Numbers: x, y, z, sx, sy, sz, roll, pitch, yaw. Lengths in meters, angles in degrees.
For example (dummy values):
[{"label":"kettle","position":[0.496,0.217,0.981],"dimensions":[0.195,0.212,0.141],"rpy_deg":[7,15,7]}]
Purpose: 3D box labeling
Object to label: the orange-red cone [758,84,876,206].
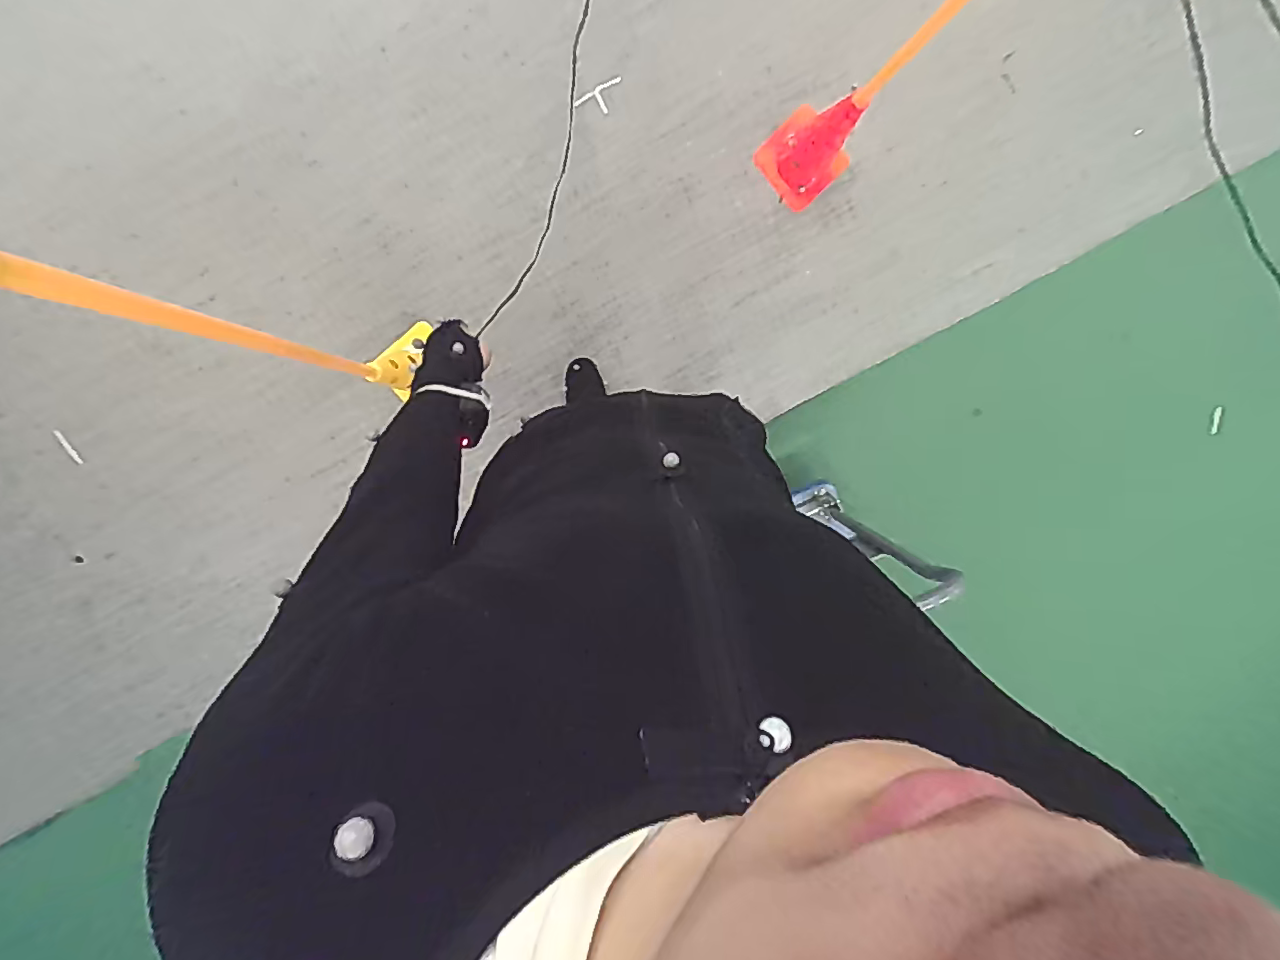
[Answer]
[{"label":"orange-red cone","position":[0.454,-0.833,1.279],"dimensions":[0.199,0.360,0.198],"rpy_deg":[-43,103,4]}]
